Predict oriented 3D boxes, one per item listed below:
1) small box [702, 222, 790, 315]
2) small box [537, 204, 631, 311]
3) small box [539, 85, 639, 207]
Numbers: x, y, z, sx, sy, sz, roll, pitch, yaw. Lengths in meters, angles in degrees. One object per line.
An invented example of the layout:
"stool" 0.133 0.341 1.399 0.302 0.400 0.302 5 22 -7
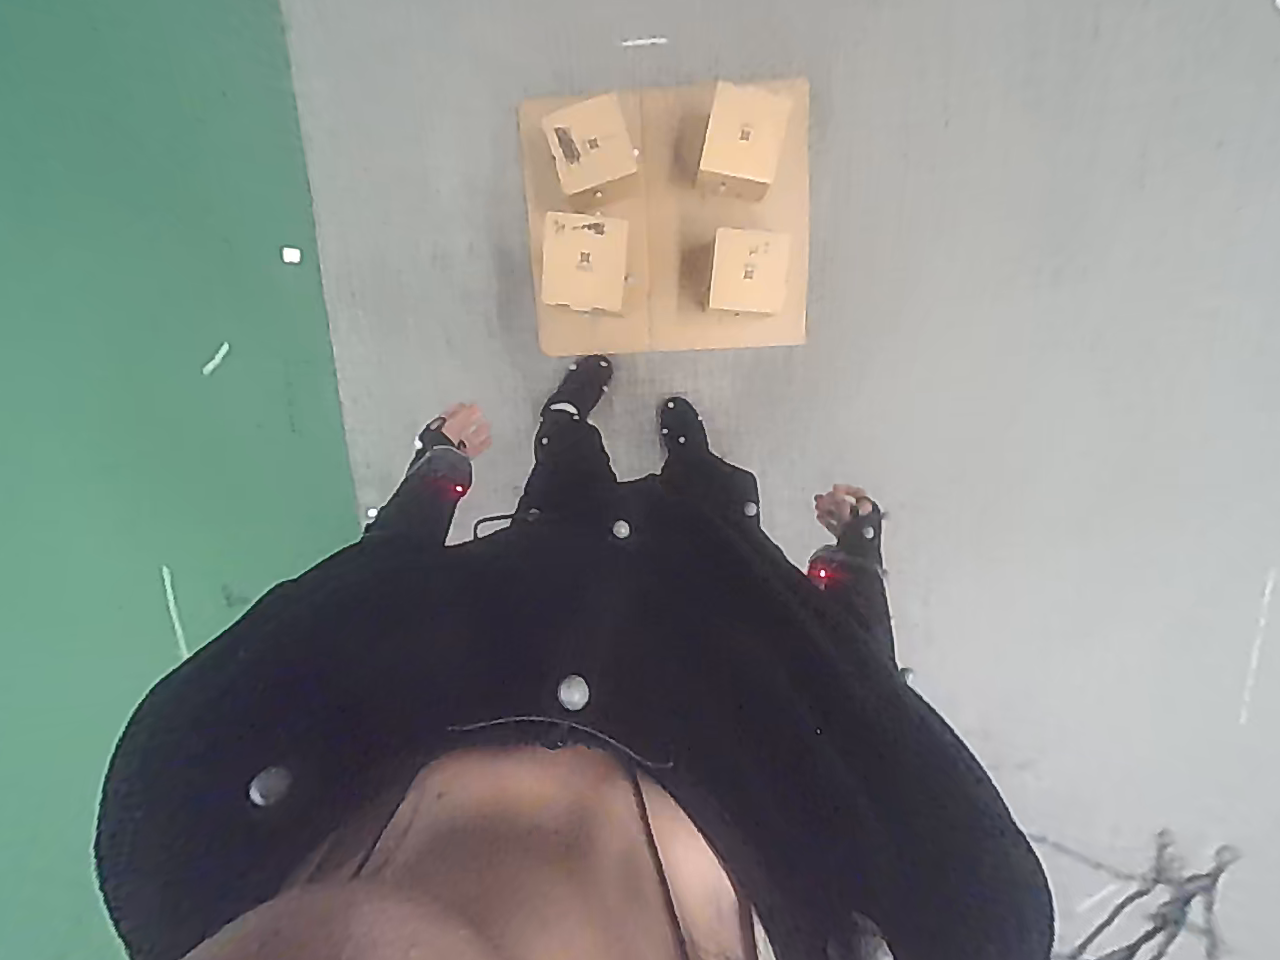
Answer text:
"small box" 0.241 -0.488 1.274 0.168 0.176 0.179 6 103 1
"small box" -0.111 -0.455 1.135 0.168 0.176 0.179 7 103 0
"small box" -0.108 -0.750 1.237 0.179 0.176 0.168 -16 102 5
